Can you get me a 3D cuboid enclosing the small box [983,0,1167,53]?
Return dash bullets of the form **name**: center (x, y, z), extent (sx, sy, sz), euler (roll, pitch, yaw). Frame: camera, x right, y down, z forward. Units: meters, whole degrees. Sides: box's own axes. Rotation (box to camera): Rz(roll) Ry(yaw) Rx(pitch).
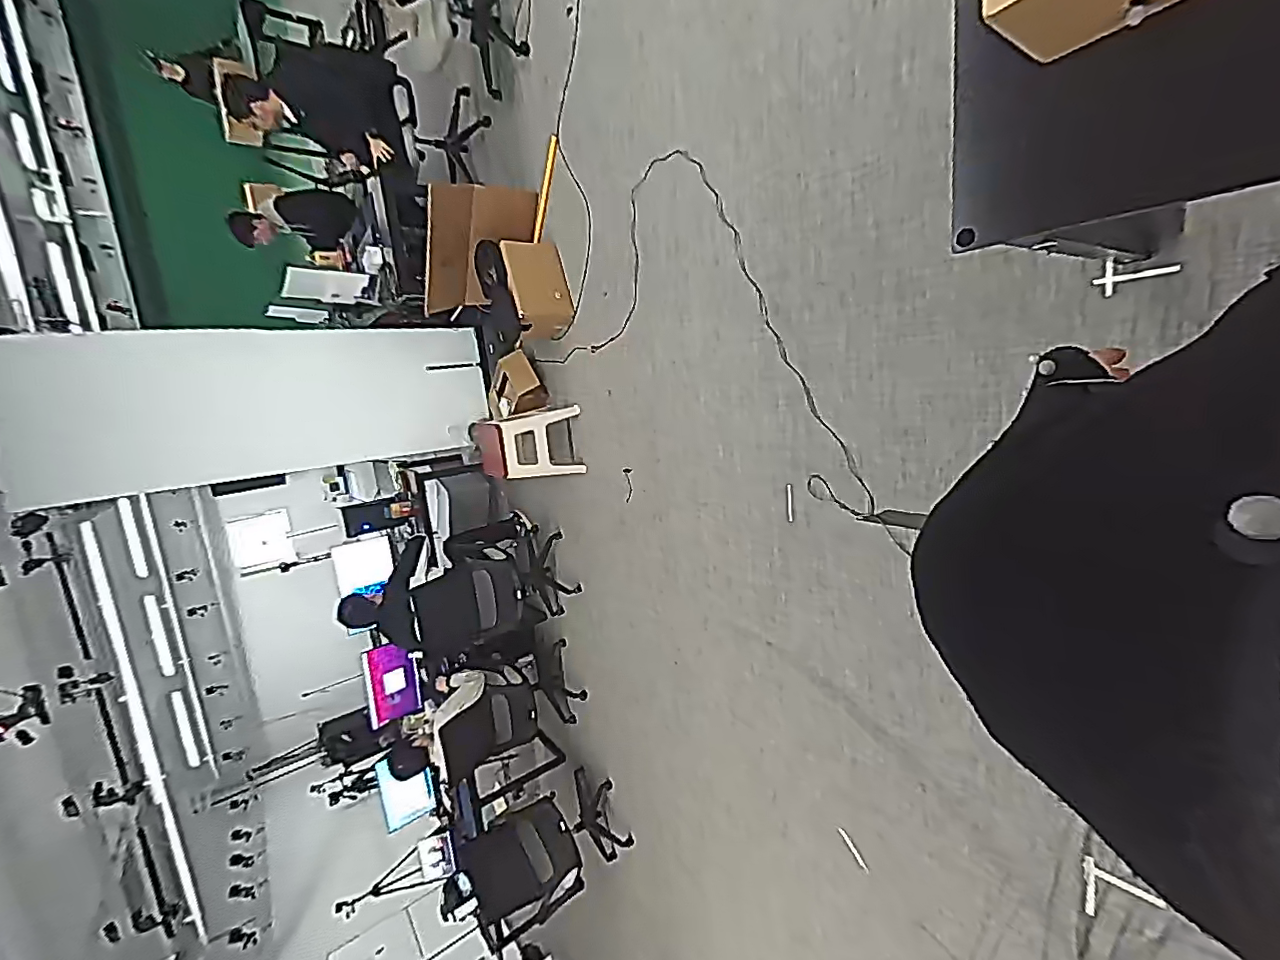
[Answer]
- **small box**: center (0.434, -0.537, 0.485), extent (0.179, 0.176, 0.168), euler (4, 104, 52)
